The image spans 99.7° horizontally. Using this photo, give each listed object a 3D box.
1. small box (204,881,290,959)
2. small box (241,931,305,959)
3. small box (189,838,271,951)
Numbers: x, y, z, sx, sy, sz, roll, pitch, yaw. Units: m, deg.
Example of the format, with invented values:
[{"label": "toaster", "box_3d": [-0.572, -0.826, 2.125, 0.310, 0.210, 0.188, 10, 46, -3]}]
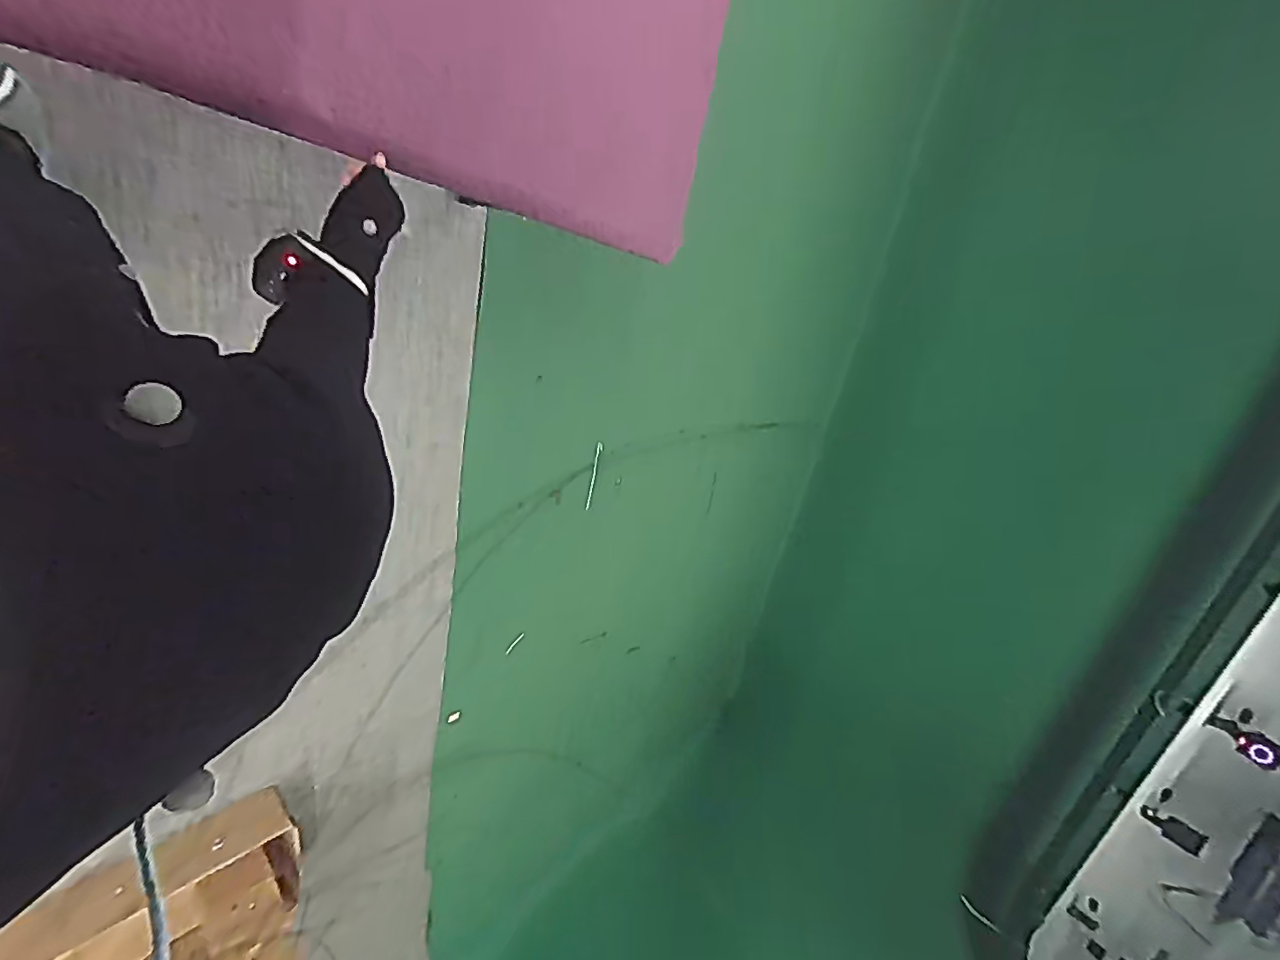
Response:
[{"label": "small box", "box_3d": [-1.112, 1.301, 1.534, 0.168, 0.176, 0.179, -13, 123, -47]}, {"label": "small box", "box_3d": [-0.993, 1.370, 1.445, 0.168, 0.176, 0.179, -15, 125, -46]}, {"label": "small box", "box_3d": [-1.230, 1.235, 1.625, 0.168, 0.176, 0.179, -13, 123, -48]}]
